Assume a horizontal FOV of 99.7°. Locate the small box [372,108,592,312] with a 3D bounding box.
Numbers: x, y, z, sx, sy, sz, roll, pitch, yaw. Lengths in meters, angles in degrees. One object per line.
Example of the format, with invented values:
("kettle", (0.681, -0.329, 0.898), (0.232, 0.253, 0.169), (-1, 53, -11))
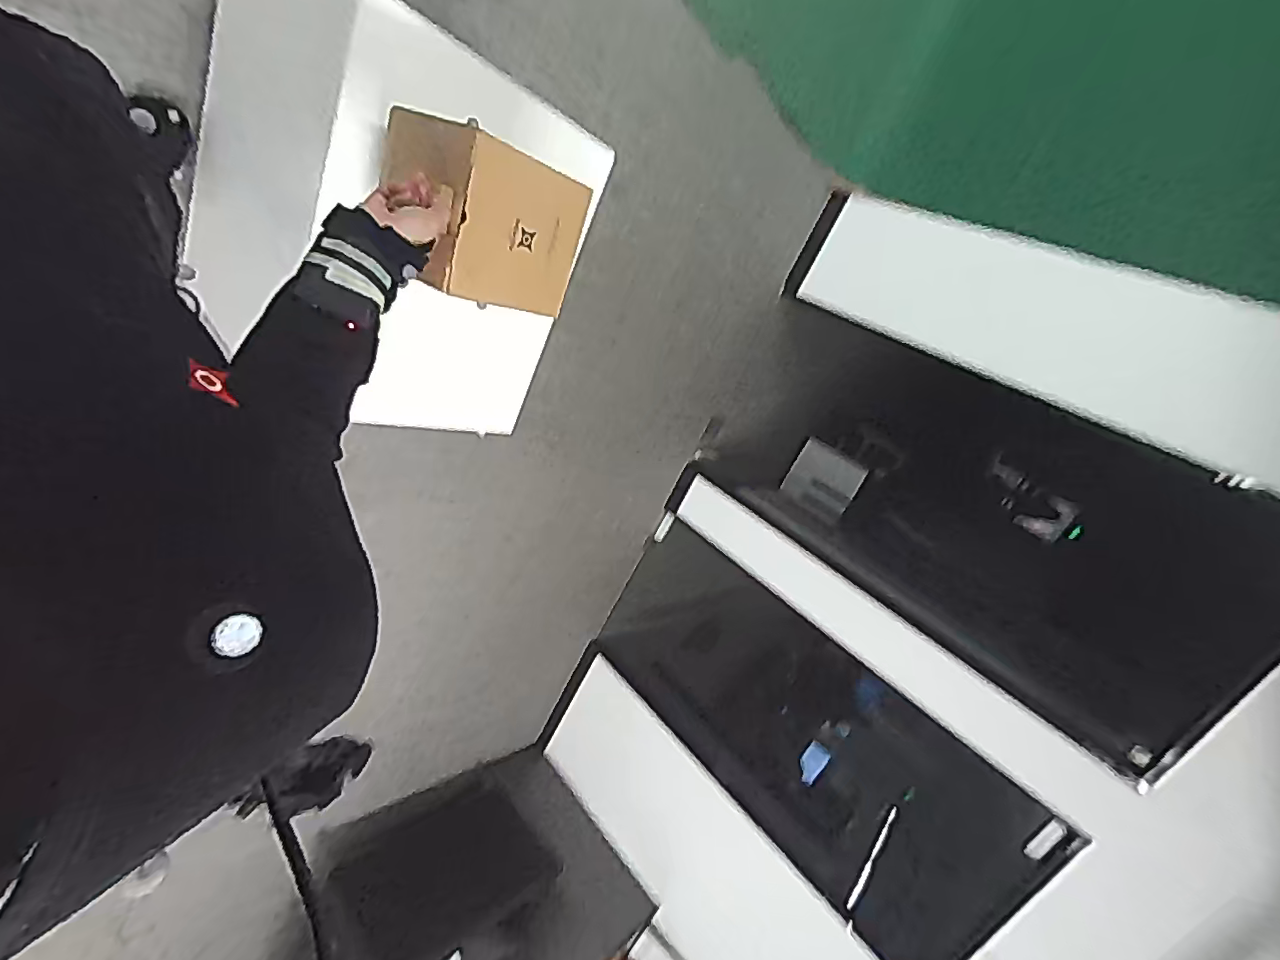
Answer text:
("small box", (-0.194, -0.321, 0.654), (0.179, 0.176, 0.168), (-12, 129, -54))
